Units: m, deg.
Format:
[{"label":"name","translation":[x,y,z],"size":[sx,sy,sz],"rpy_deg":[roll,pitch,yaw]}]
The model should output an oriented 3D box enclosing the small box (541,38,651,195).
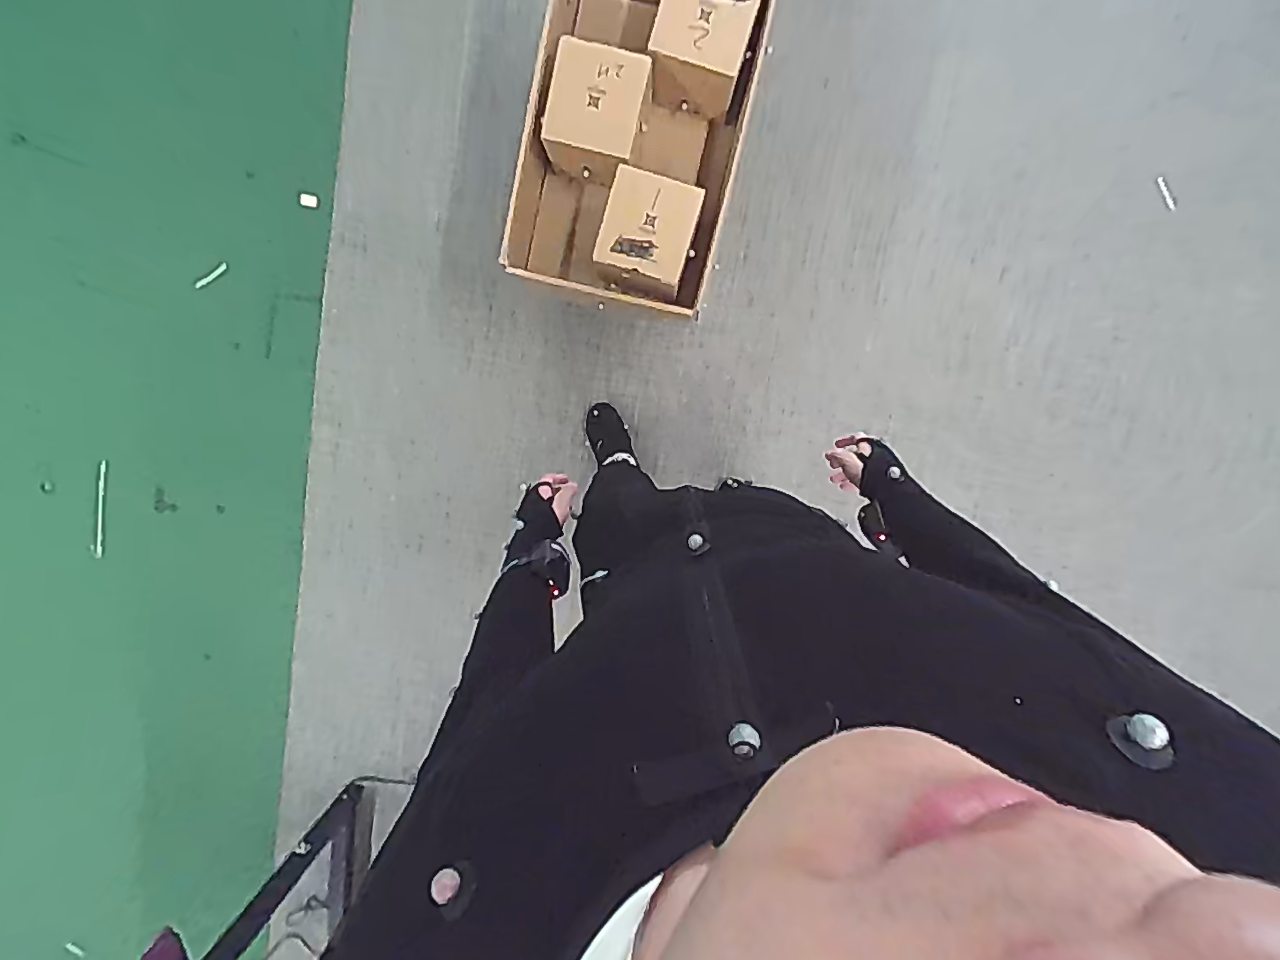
[{"label":"small box","translation":[-0.076,-0.676,1.030],"size":[0.168,0.176,0.179],"rpy_deg":[14,98,-1]}]
